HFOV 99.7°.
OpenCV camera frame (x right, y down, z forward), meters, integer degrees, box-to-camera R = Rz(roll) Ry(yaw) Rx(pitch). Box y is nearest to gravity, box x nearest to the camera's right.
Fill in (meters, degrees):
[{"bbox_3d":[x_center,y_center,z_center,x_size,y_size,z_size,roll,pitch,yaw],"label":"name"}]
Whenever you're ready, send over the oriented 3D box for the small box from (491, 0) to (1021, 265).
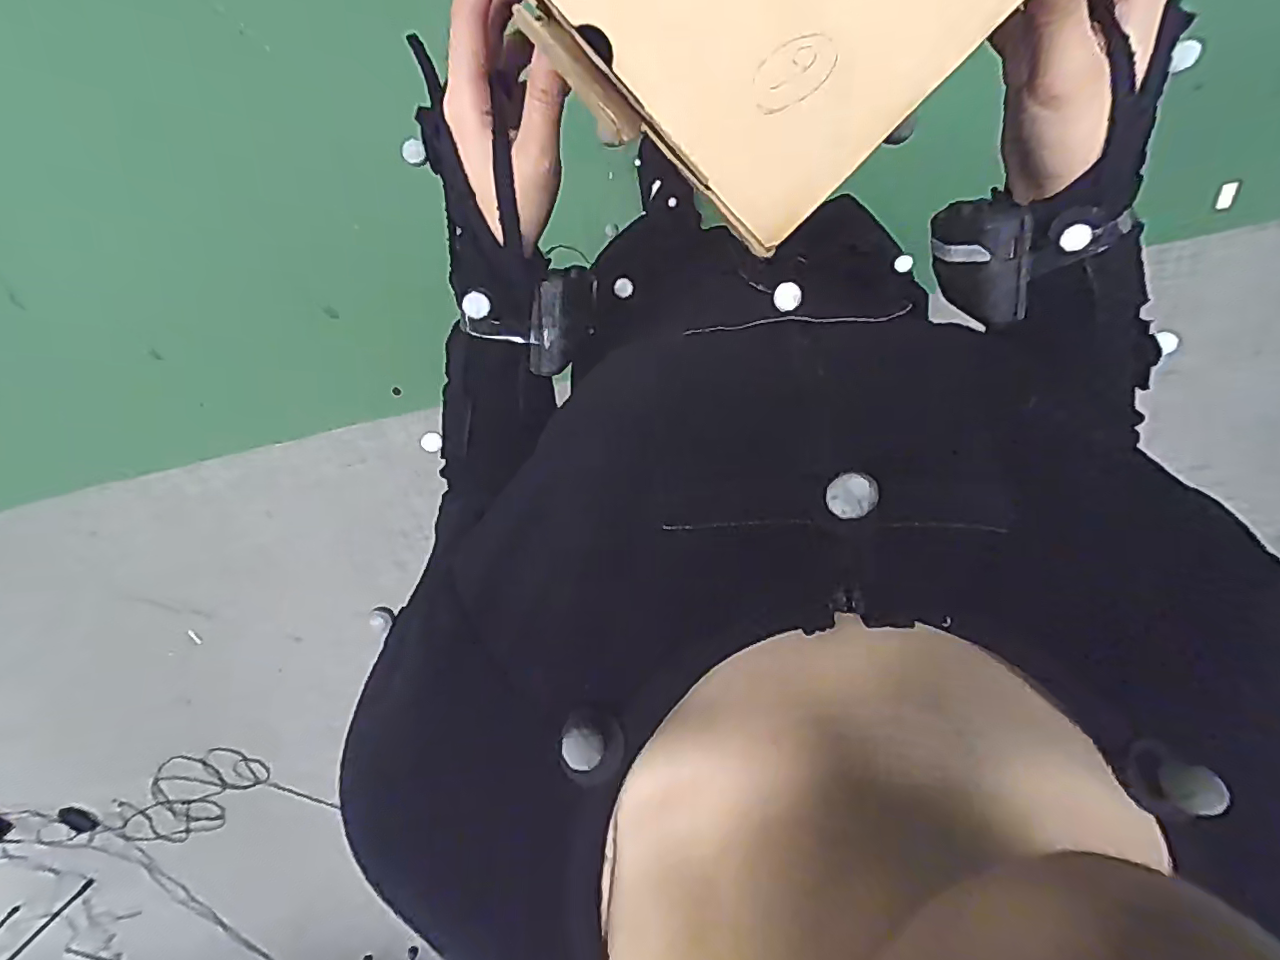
[{"bbox_3d":[0.052,-0.218,0.223,0.168,0.176,0.179,42,113,-12],"label":"small box"}]
